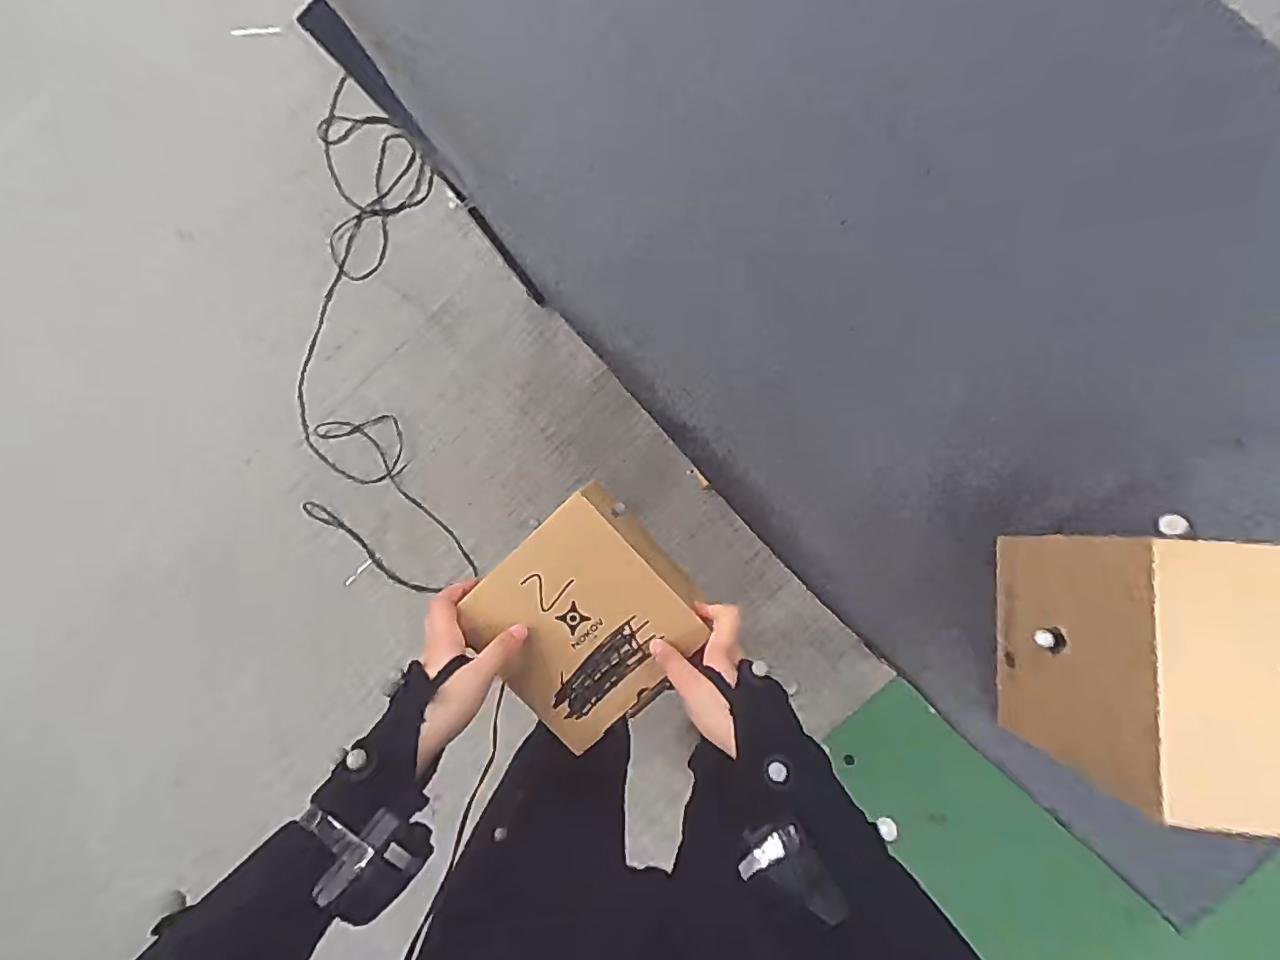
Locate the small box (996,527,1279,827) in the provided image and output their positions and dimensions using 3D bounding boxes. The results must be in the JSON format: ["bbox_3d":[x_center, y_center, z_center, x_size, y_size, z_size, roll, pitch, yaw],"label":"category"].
[{"bbox_3d":[0.388,0.123,0.387,0.179,0.176,0.168,3,85,5],"label":"small box"}]

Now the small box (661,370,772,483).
[{"bbox_3d":[0.159,-0.103,1.153,0.168,0.176,0.179,-29,84,3],"label":"small box"}]
